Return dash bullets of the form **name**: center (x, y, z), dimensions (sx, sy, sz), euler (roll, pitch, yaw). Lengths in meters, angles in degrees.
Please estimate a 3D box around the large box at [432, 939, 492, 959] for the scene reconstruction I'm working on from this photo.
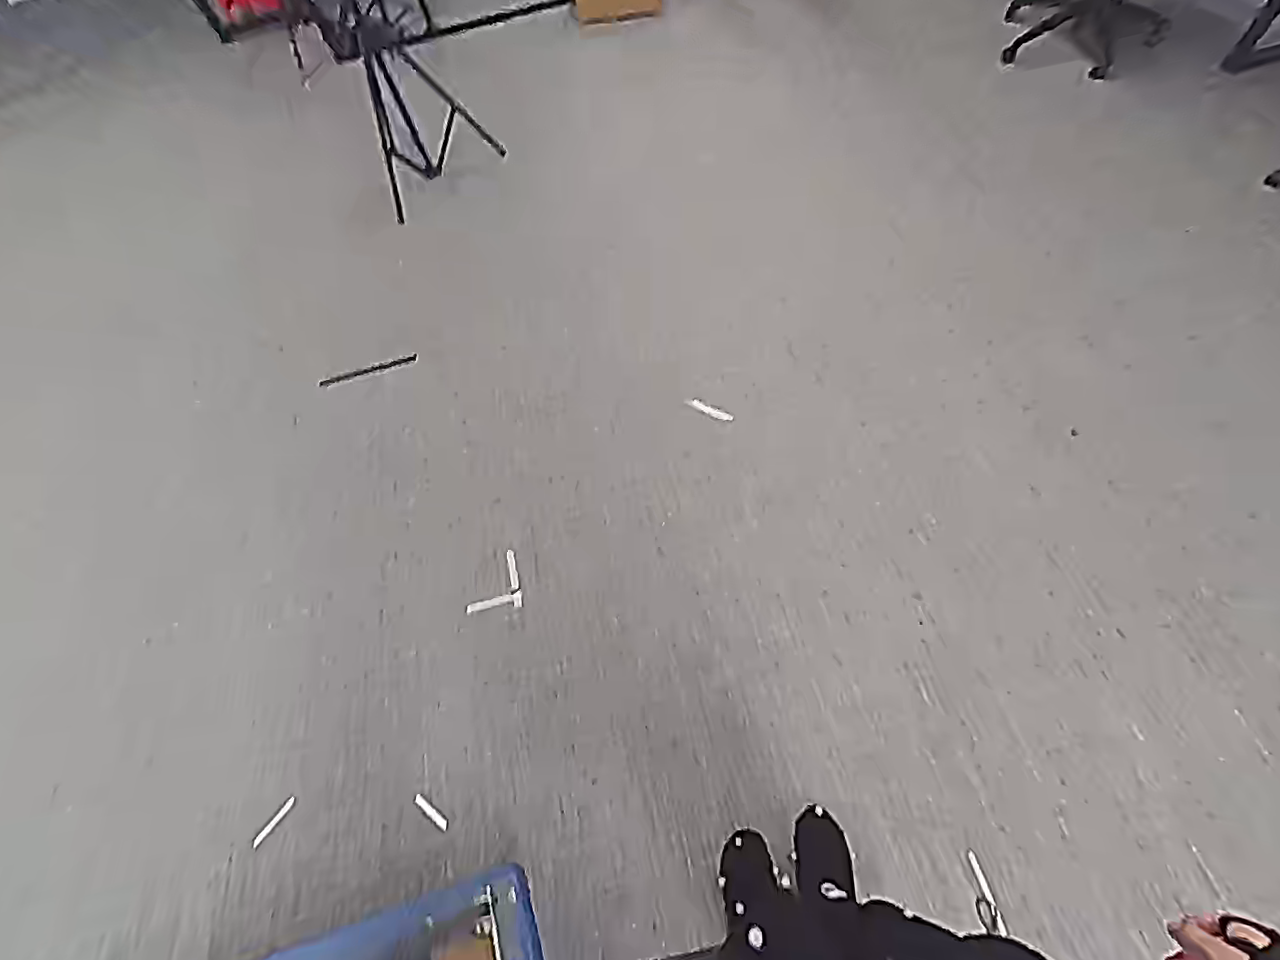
- **large box**: center (-0.382, 1.004, 0.790), dimensions (0.320, 0.320, 0.408), euler (-19, 60, -3)
